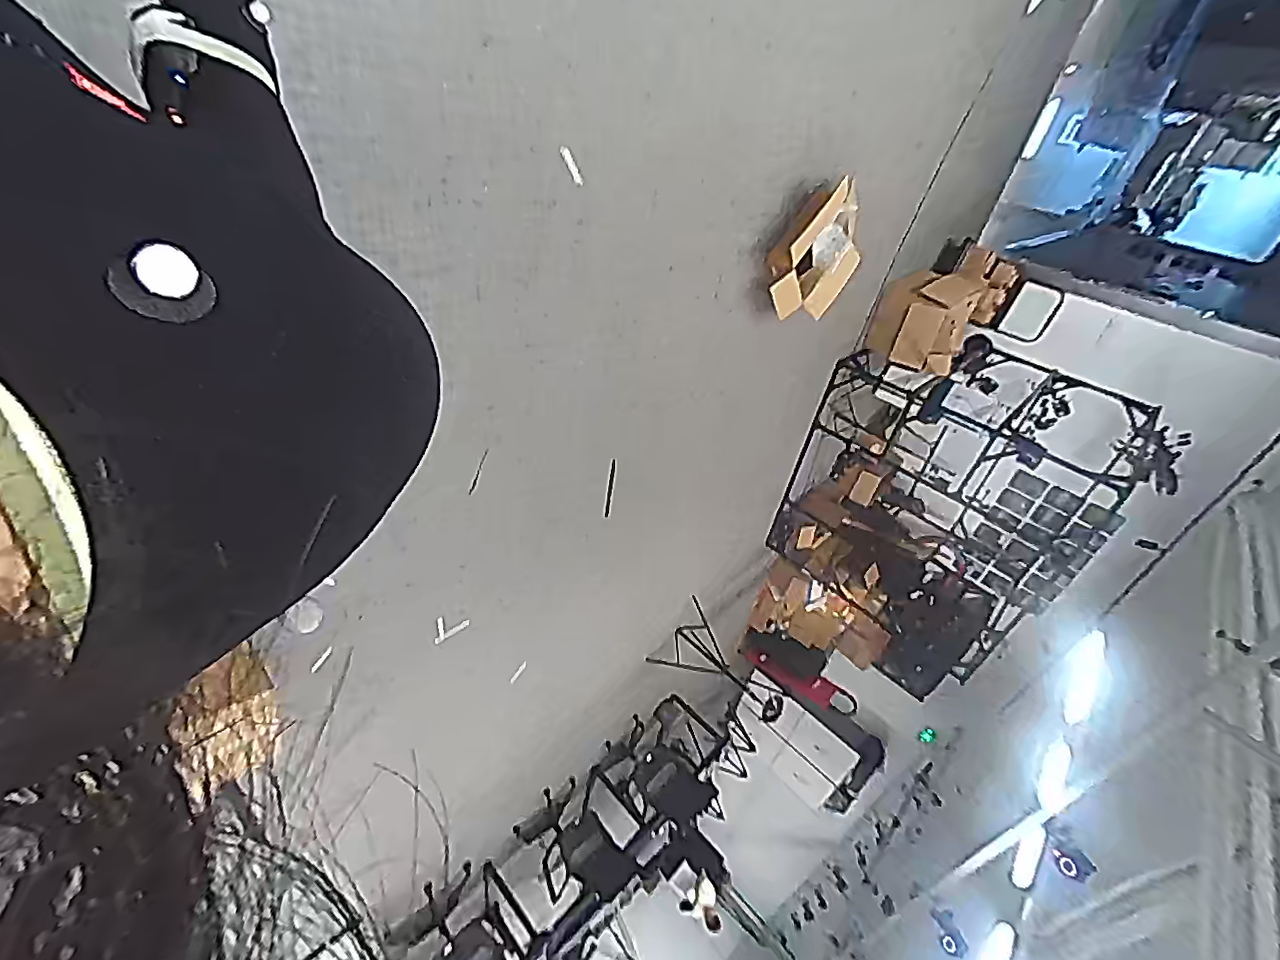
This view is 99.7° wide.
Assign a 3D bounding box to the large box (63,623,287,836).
[{"bbox_3d":[-1.311,0.688,1.556,0.408,0.320,0.320,-21,136,-46],"label":"large box"}]
